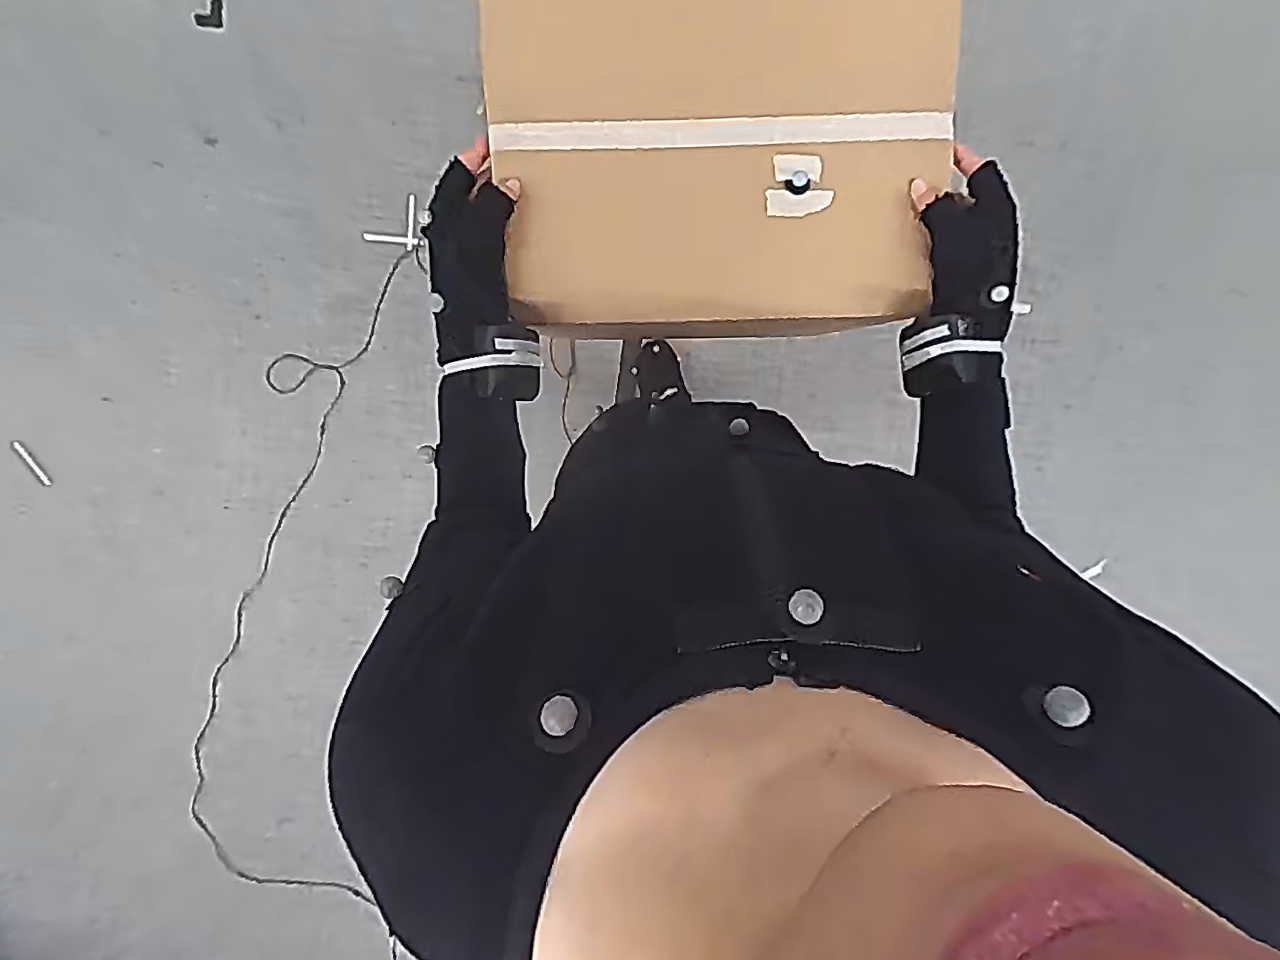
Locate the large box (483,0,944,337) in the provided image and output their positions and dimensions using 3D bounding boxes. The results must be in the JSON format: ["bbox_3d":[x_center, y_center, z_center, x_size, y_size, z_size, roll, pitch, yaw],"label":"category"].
[{"bbox_3d":[0.065,-0.344,0.629,0.408,0.320,0.320,-2,102,0],"label":"large box"}]
